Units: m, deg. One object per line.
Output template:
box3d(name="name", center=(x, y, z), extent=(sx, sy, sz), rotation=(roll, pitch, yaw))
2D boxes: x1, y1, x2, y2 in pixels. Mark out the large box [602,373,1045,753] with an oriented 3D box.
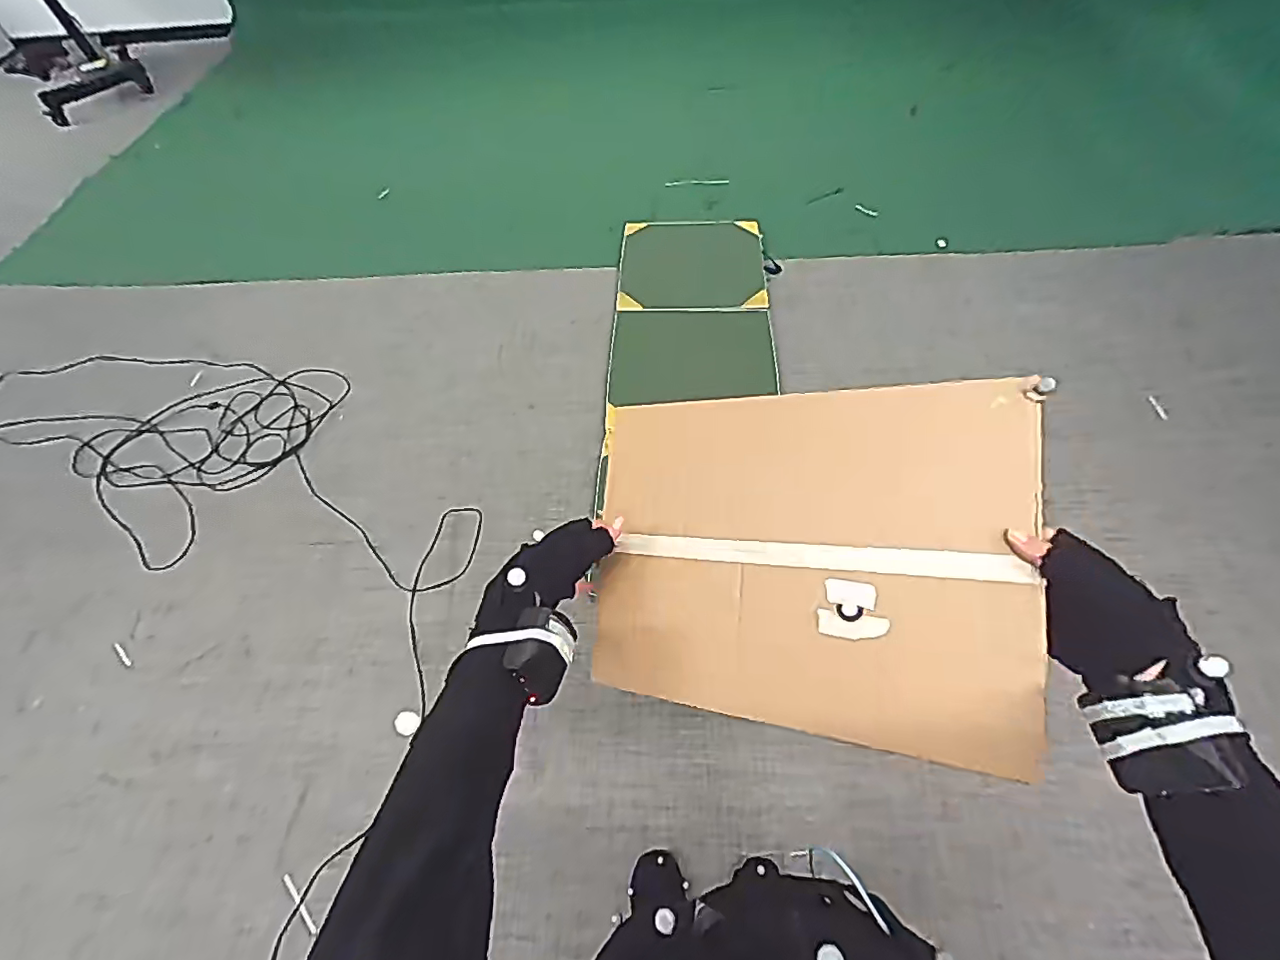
box3d(name="large box", center=(0.209, 0.087, 0.653), extent=(0.408, 0.320, 0.320), rotation=(0, 82, 28))
